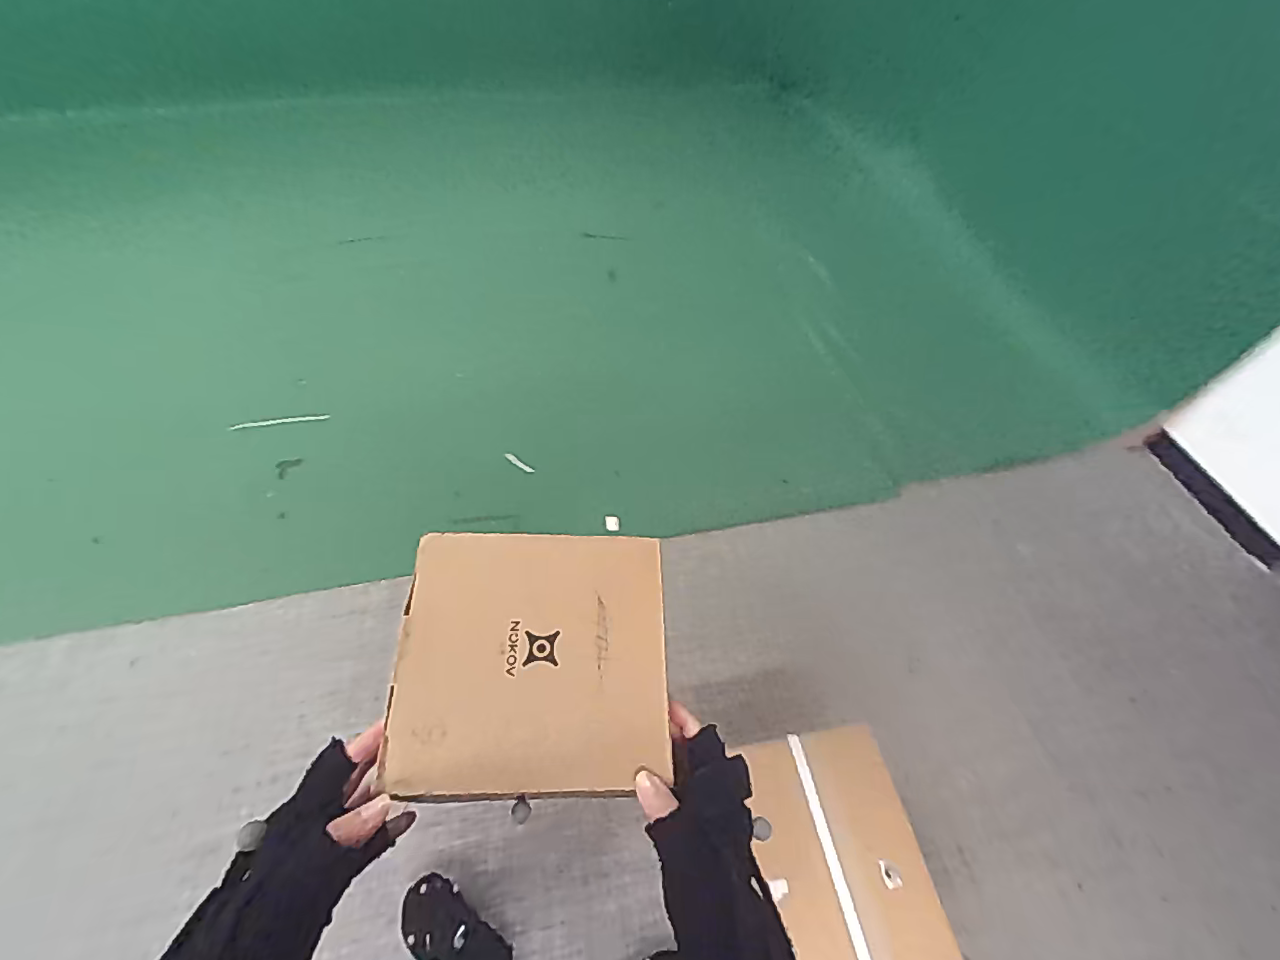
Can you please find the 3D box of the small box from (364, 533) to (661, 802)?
[{"bbox_3d":[-0.085,0.152,0.425,0.179,0.176,0.168,-1,60,-8],"label":"small box"}]
